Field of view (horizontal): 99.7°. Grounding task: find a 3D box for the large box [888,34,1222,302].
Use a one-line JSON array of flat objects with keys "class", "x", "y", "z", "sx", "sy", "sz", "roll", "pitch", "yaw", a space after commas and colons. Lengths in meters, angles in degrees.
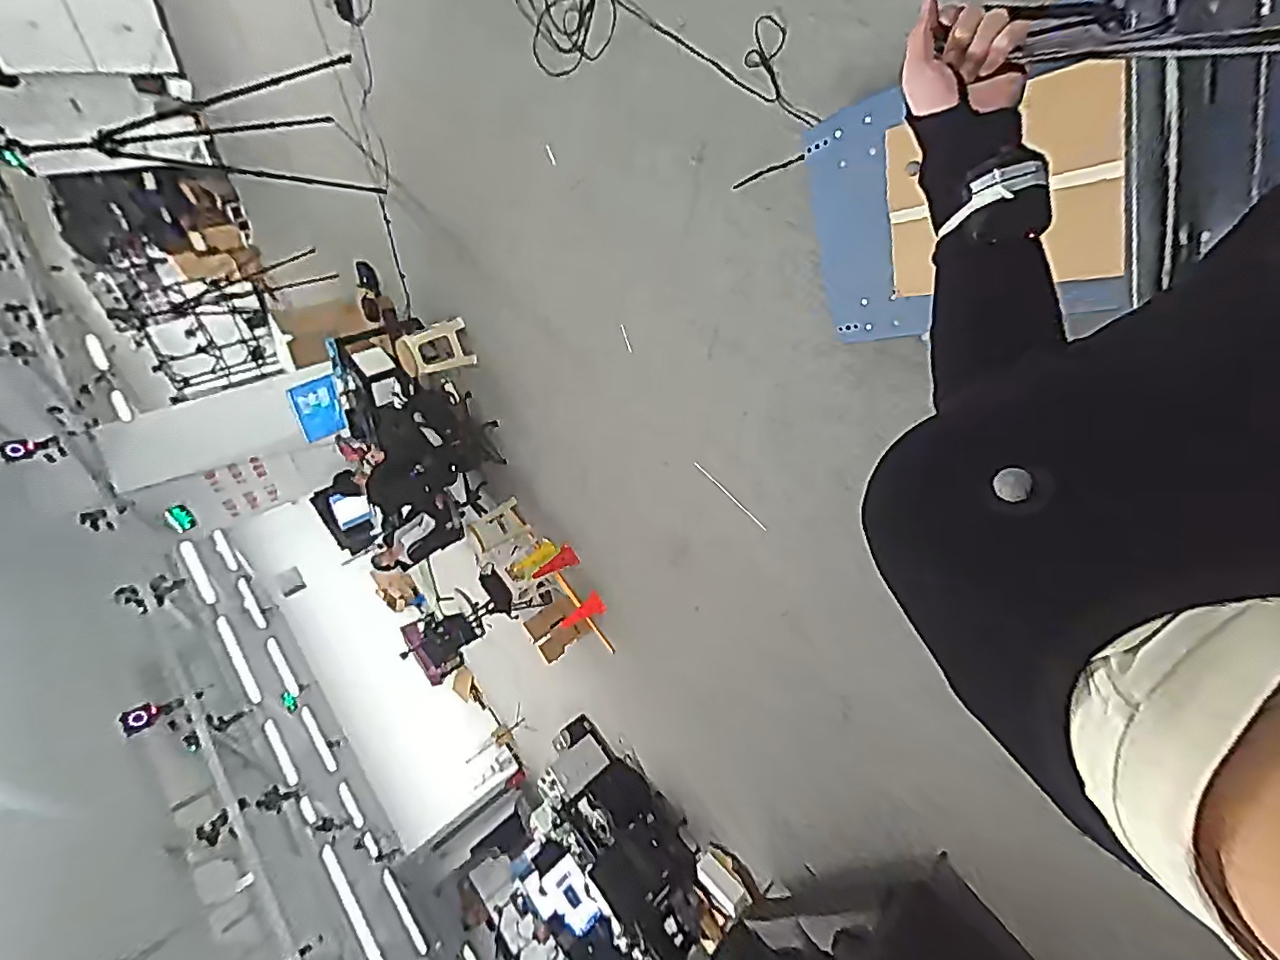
[{"class": "large box", "x": 0.736, "y": -0.541, "z": 0.991, "sx": 0.408, "sy": 0.320, "sz": 0.320, "roll": 14, "pitch": 126, "yaw": 51}]
